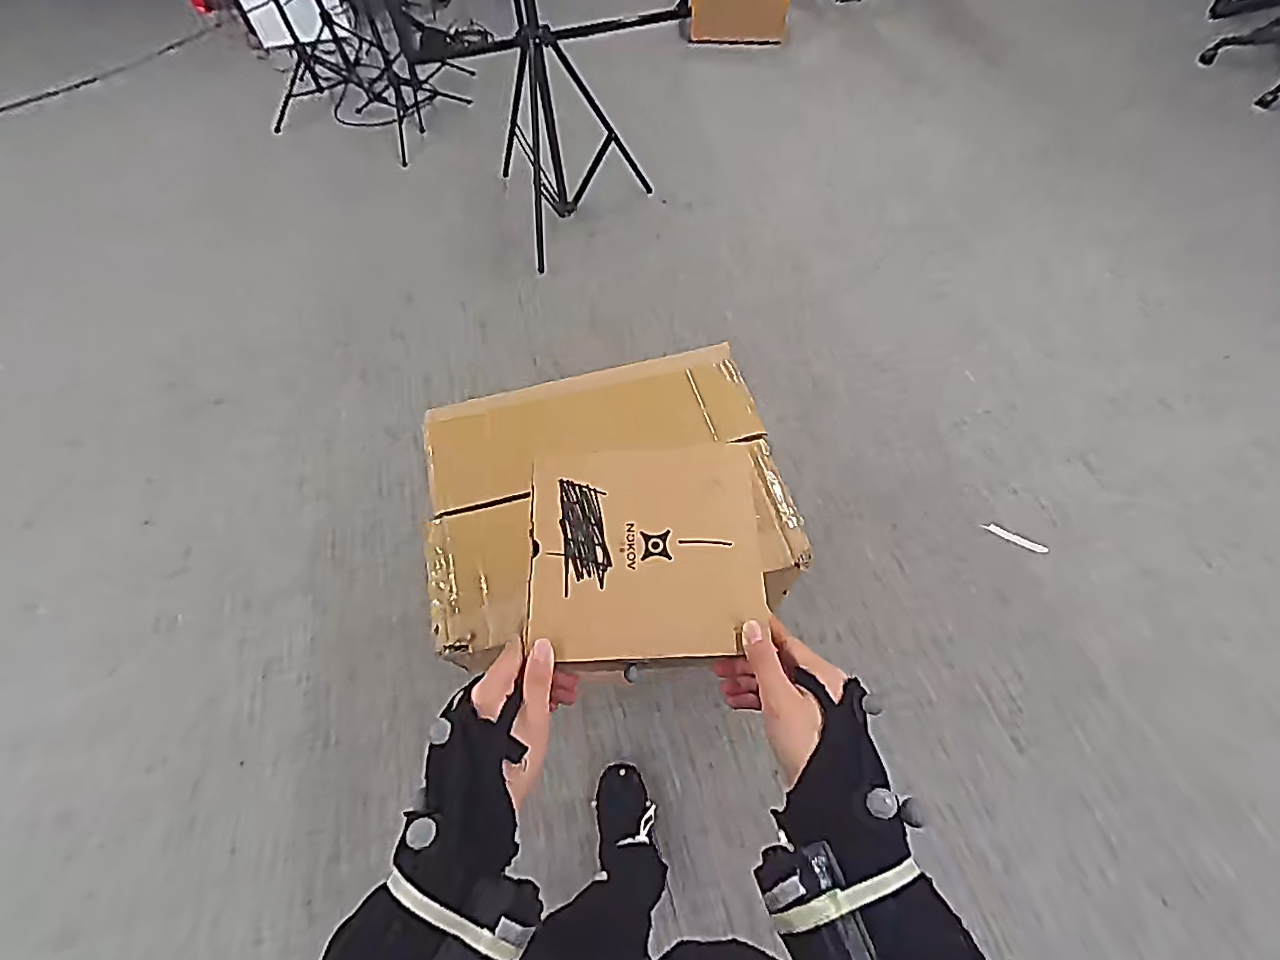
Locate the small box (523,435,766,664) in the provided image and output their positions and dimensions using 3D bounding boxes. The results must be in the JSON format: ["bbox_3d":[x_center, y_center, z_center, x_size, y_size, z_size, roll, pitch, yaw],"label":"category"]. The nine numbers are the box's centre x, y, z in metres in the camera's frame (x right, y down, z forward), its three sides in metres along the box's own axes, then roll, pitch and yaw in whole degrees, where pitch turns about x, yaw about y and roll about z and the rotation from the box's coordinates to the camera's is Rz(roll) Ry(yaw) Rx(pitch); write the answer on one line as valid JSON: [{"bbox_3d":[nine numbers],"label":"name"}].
[{"bbox_3d":[0.002,0.072,0.486,0.179,0.176,0.168,-2,68,-1],"label":"small box"}]
